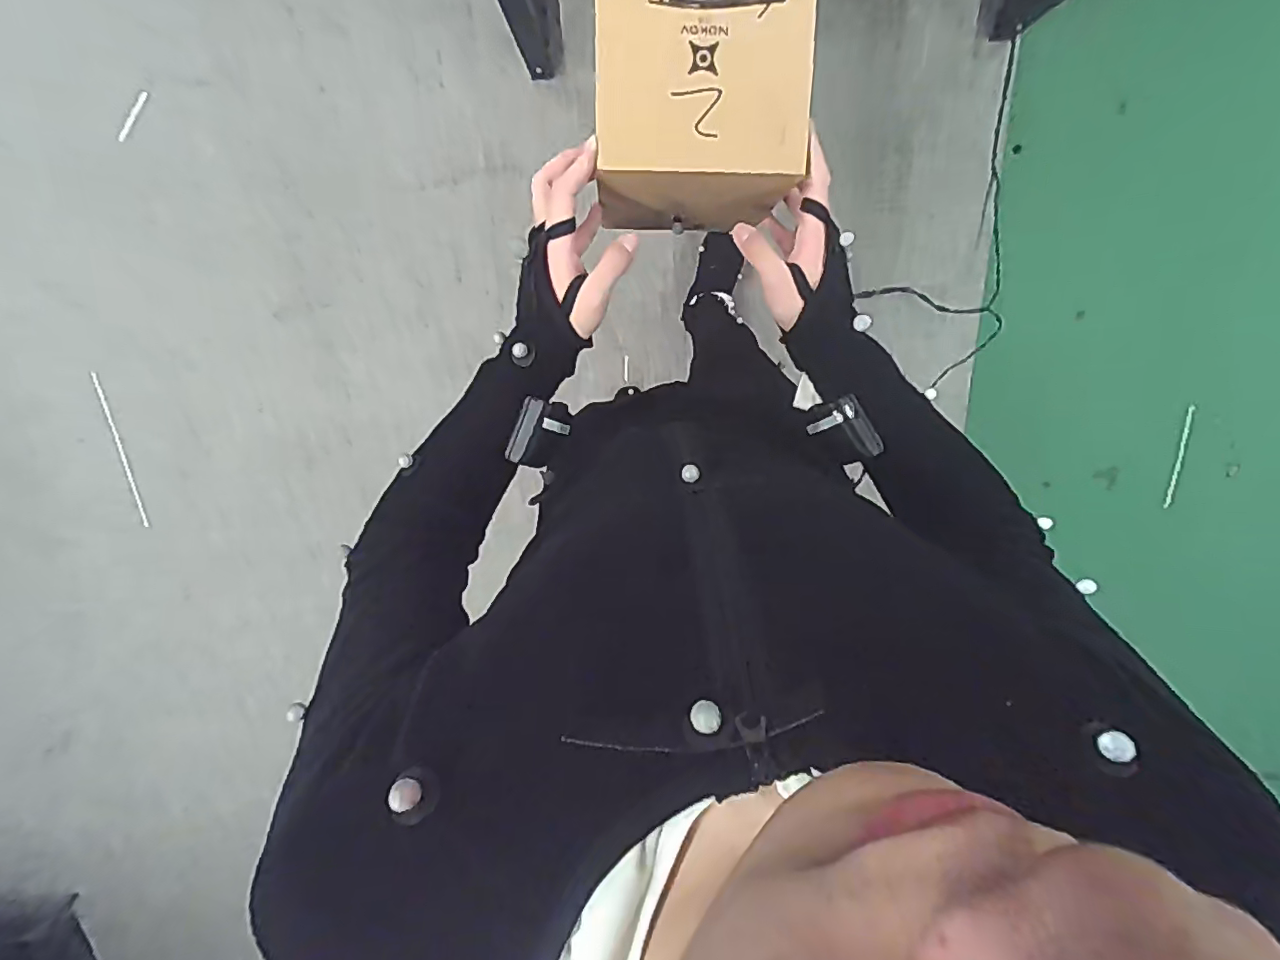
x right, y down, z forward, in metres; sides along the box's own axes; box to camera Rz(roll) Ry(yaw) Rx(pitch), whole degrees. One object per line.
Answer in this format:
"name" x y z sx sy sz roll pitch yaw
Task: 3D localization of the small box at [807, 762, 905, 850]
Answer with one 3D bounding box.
"small box" 0.581 0.926 1.487 0.179 0.176 0.168 -35 103 9
